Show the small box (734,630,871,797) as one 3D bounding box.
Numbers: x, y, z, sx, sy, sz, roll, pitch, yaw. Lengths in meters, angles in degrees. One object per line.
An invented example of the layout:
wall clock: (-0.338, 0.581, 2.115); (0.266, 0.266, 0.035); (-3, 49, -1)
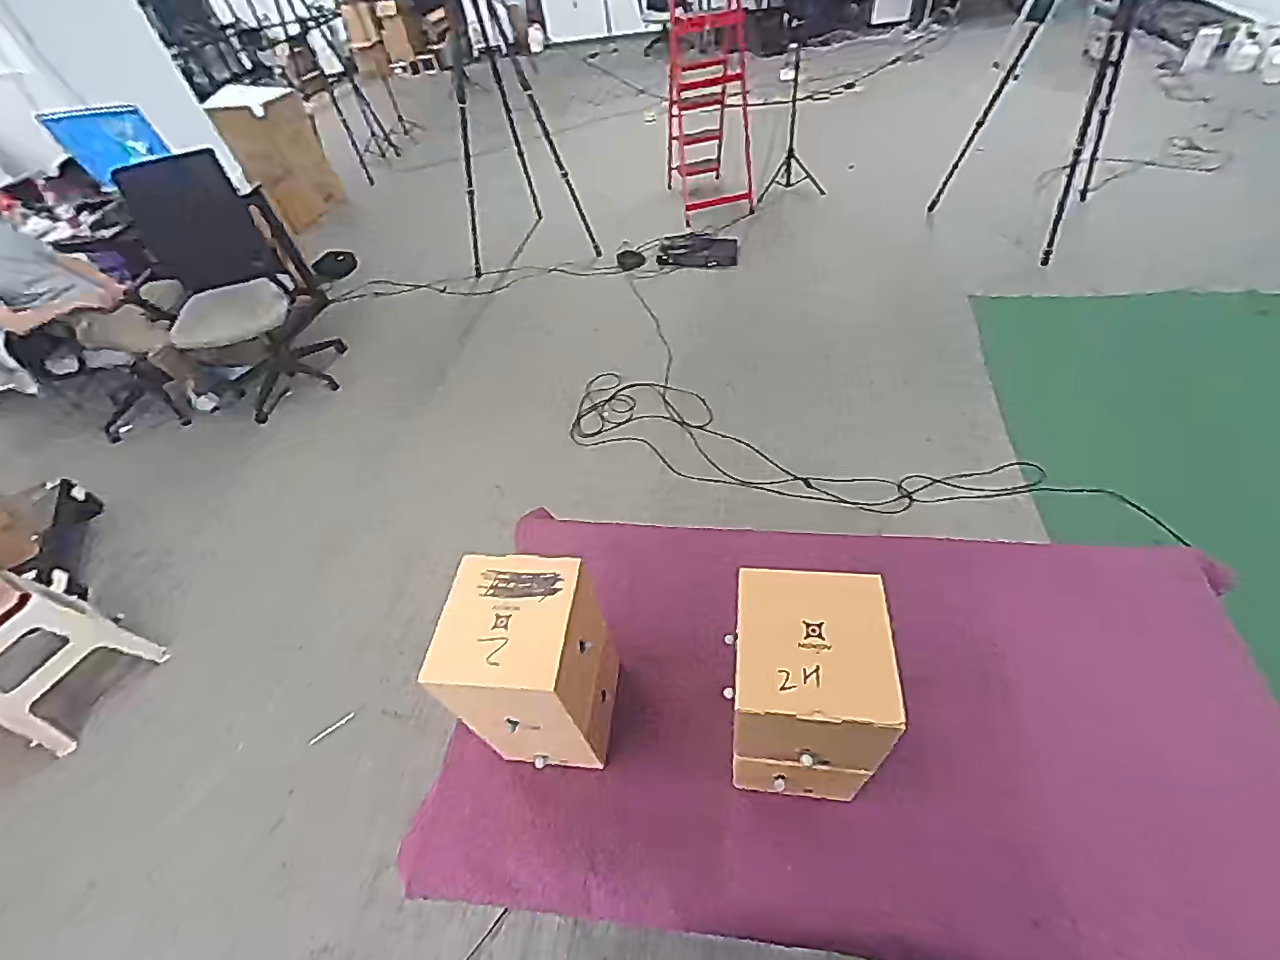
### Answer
small box: (0.221, 0.336, 0.774); (0.168, 0.176, 0.179); (1, 48, 10)

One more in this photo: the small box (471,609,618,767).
small box: (-0.133, 0.321, 0.838); (0.168, 0.176, 0.179); (1, 50, 10)

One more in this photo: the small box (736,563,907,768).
small box: (0.204, 0.223, 0.655); (0.168, 0.176, 0.179); (2, 49, 11)
